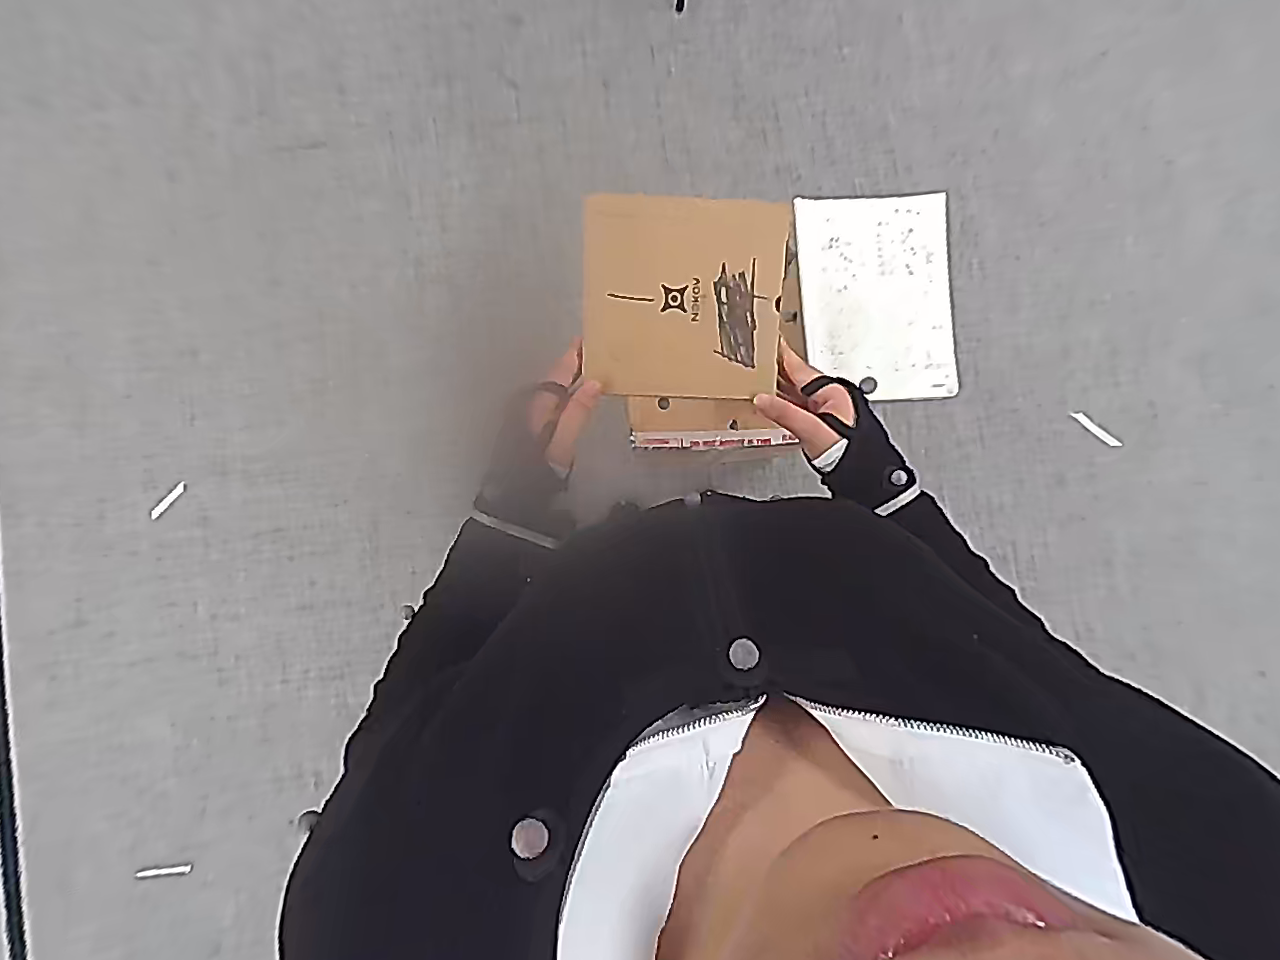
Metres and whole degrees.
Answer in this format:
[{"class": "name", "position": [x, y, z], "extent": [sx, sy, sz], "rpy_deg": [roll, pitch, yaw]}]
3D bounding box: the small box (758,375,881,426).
[{"class": "small box", "position": [0.302, -0.197, 0.971], "extent": [0.179, 0.176, 0.168], "rpy_deg": [-9, 89, -1]}]

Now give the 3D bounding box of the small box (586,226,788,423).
[{"class": "small box", "position": [0.038, -0.153, 0.563], "extent": [0.179, 0.176, 0.168], "rpy_deg": [2, 101, -1]}]

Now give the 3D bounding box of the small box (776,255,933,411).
[{"class": "small box", "position": [0.302, -0.210, 0.808], "extent": [0.168, 0.176, 0.179], "rpy_deg": [-6, 88, -2]}]
